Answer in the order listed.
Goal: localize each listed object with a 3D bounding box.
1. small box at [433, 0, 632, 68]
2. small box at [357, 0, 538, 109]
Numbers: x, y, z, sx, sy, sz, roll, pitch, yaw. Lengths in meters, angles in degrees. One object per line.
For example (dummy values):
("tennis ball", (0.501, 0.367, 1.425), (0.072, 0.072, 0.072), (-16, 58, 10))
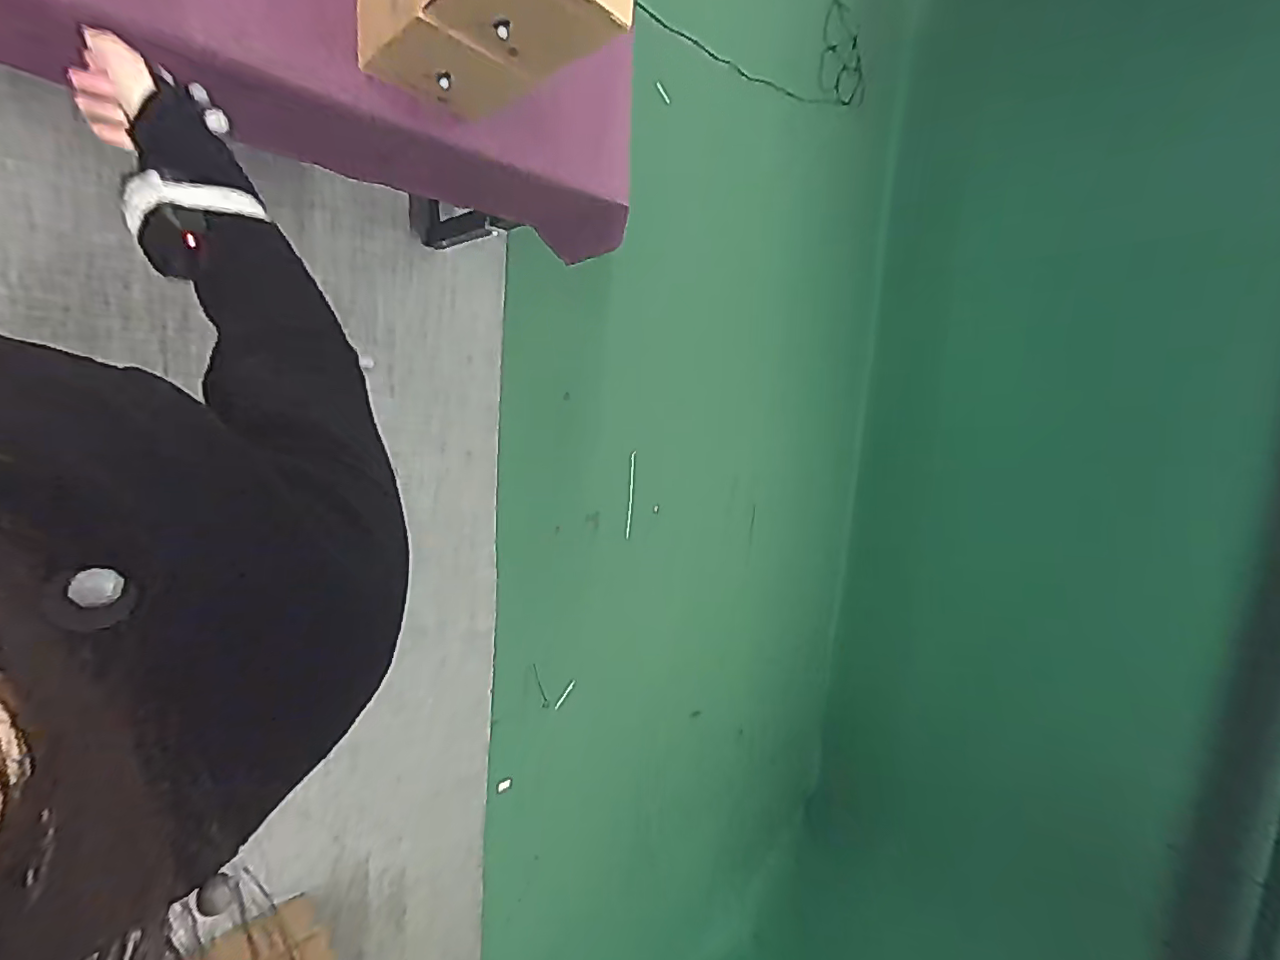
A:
("small box", (-0.120, -0.601, 0.585), (0.168, 0.176, 0.179), (-8, 105, -47))
("small box", (-0.245, -0.617, 0.690), (0.168, 0.176, 0.179), (-8, 104, -48))
